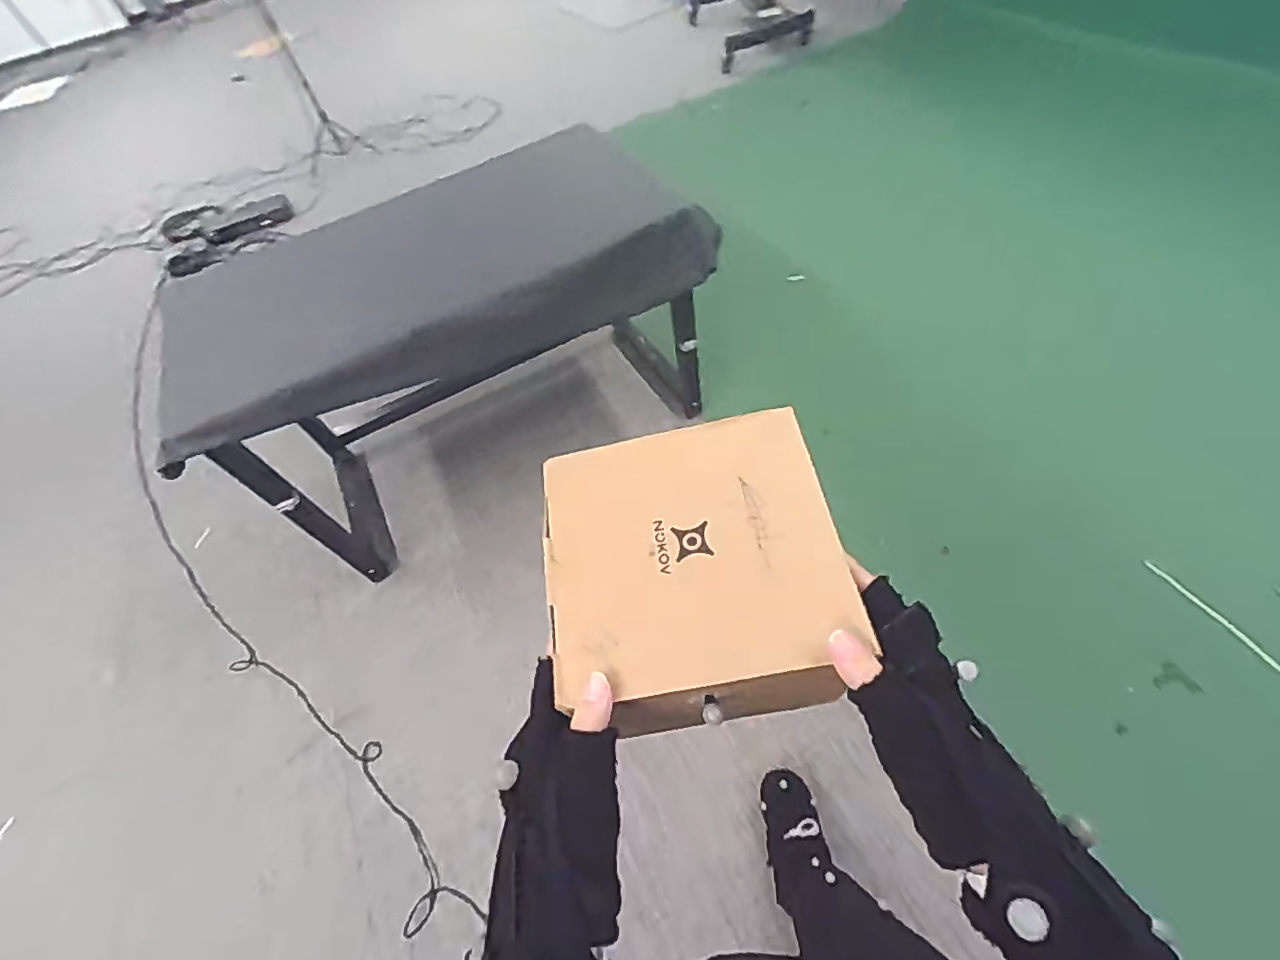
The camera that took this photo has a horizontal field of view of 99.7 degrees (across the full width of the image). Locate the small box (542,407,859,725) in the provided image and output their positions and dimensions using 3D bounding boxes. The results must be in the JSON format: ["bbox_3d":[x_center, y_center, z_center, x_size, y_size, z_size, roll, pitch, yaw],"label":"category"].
[{"bbox_3d":[0.039,0.076,0.407,0.179,0.176,0.168,-13,58,3],"label":"small box"}]
